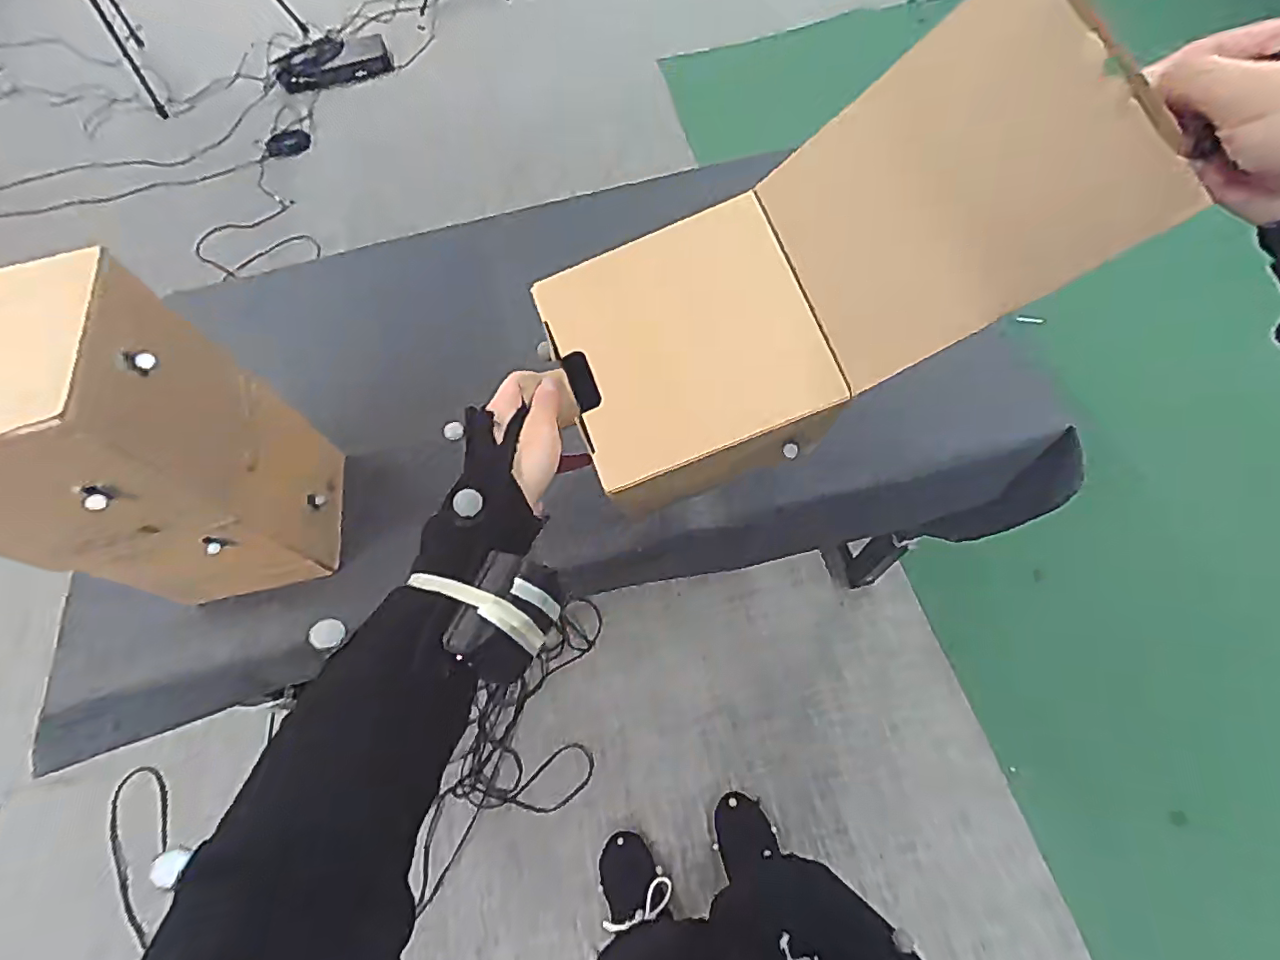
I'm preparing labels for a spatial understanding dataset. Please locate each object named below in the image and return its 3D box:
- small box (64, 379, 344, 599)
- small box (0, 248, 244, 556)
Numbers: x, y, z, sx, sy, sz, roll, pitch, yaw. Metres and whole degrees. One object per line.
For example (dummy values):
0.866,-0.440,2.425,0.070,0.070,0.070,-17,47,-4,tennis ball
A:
-0.463,0.019,0.596,0.179,0.176,0.168,-12,62,-2,small box
-0.469,-0.051,0.450,0.168,0.176,0.179,-16,62,-5,small box
